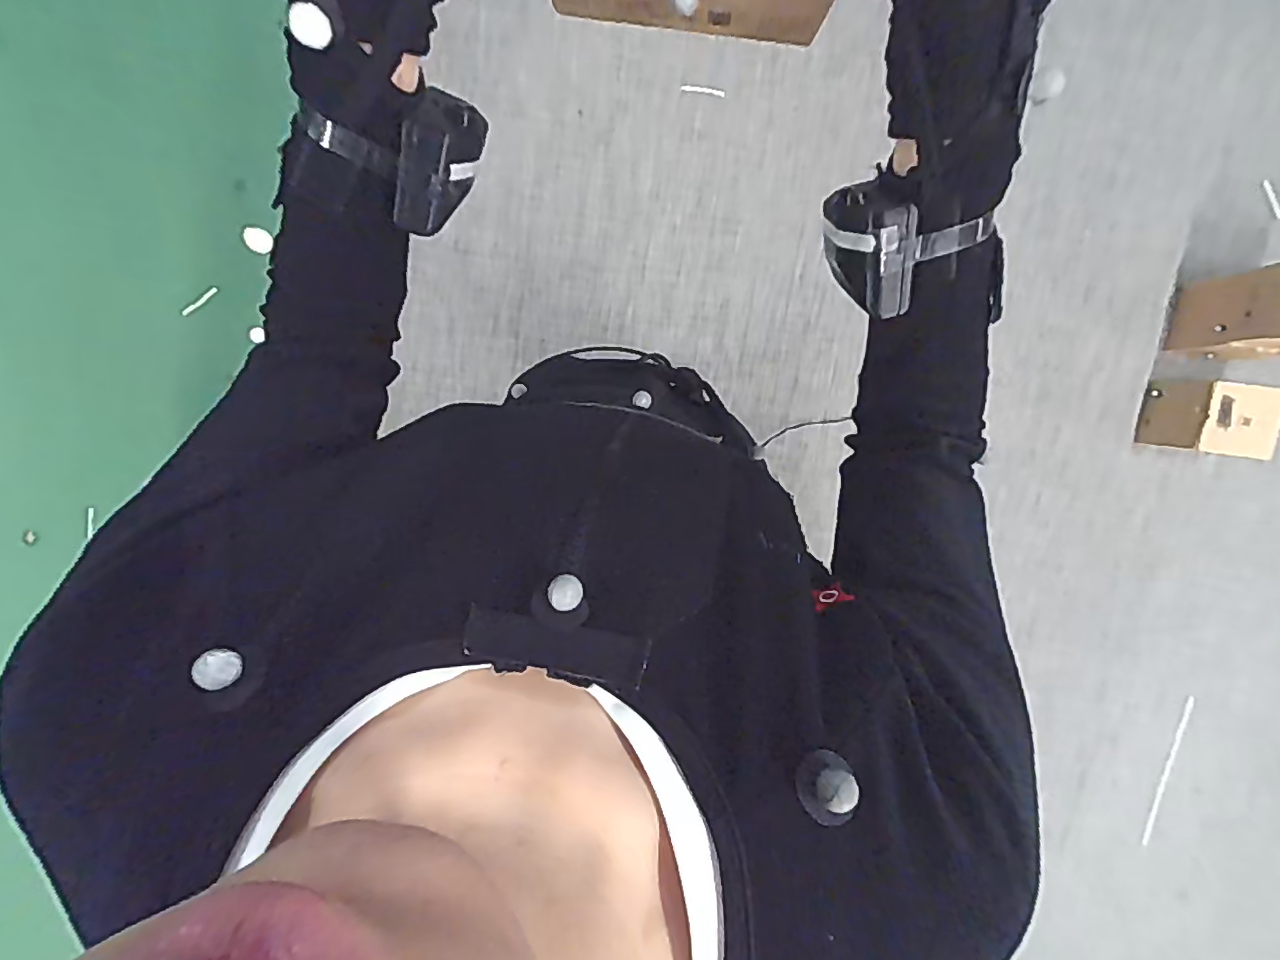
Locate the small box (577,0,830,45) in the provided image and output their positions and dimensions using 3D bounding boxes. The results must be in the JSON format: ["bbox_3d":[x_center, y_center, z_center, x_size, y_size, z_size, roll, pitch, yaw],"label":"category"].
[{"bbox_3d":[0.038,-0.353,0.248,0.168,0.176,0.179,7,105,0],"label":"small box"}]

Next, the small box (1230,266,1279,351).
[{"bbox_3d":[1.426,-0.362,1.130,0.179,0.176,0.168,8,99,-1],"label":"small box"}]

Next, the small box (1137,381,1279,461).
[{"bbox_3d":[1.393,-0.148,1.329,0.179,0.176,0.168,7,100,-1],"label":"small box"}]
